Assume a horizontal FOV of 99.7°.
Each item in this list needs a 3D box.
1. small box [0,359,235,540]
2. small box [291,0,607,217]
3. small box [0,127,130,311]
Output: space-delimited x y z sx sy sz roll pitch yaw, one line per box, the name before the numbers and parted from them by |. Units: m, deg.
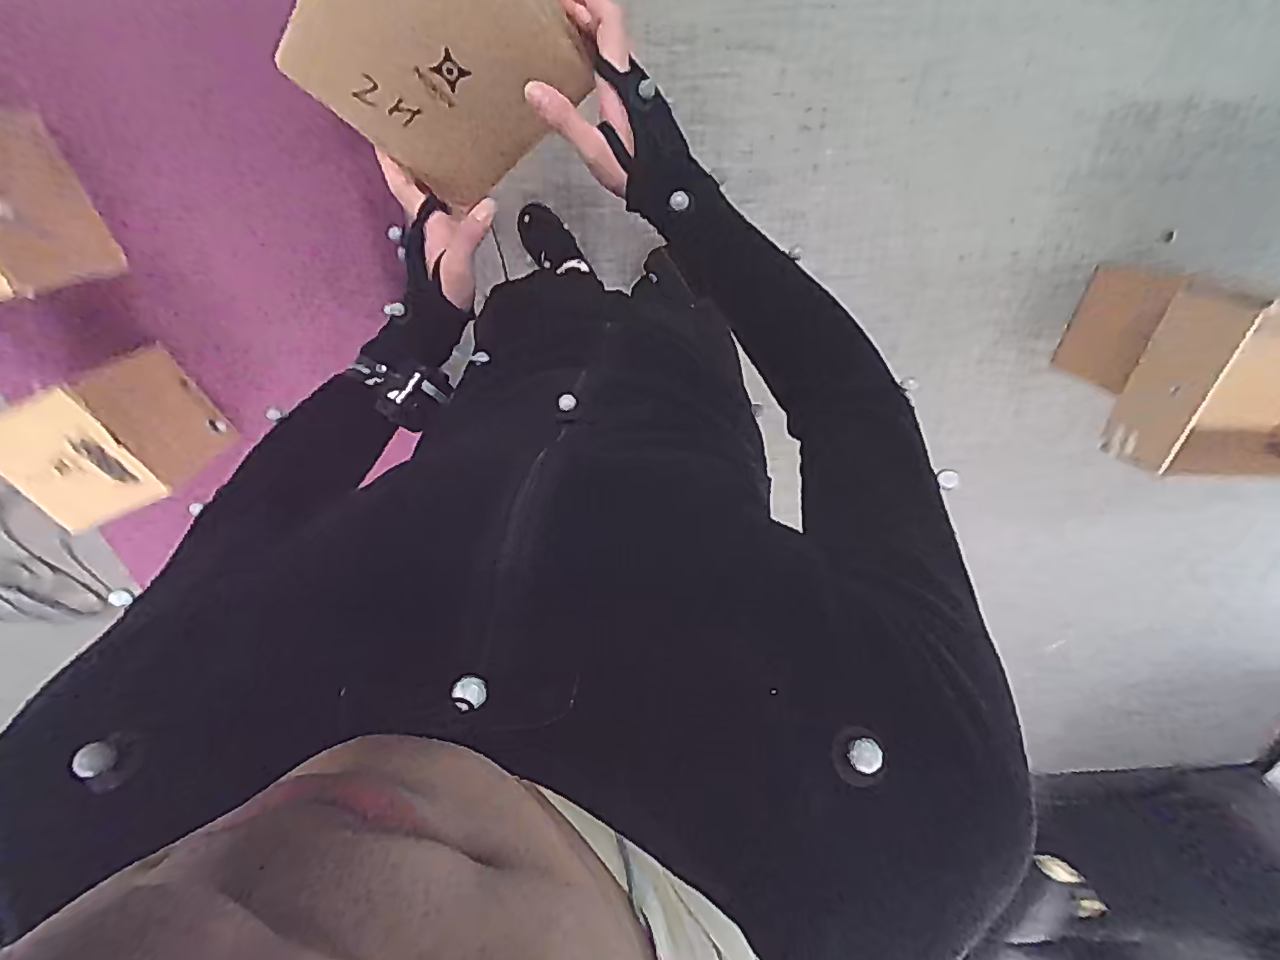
small box | -0.731 -0.049 0.771 0.179 0.176 0.168 -20 120 10
small box | -0.149 -0.374 0.447 0.179 0.176 0.168 -23 148 30
small box | -0.768 -0.295 0.620 0.168 0.176 0.179 -9 123 2
